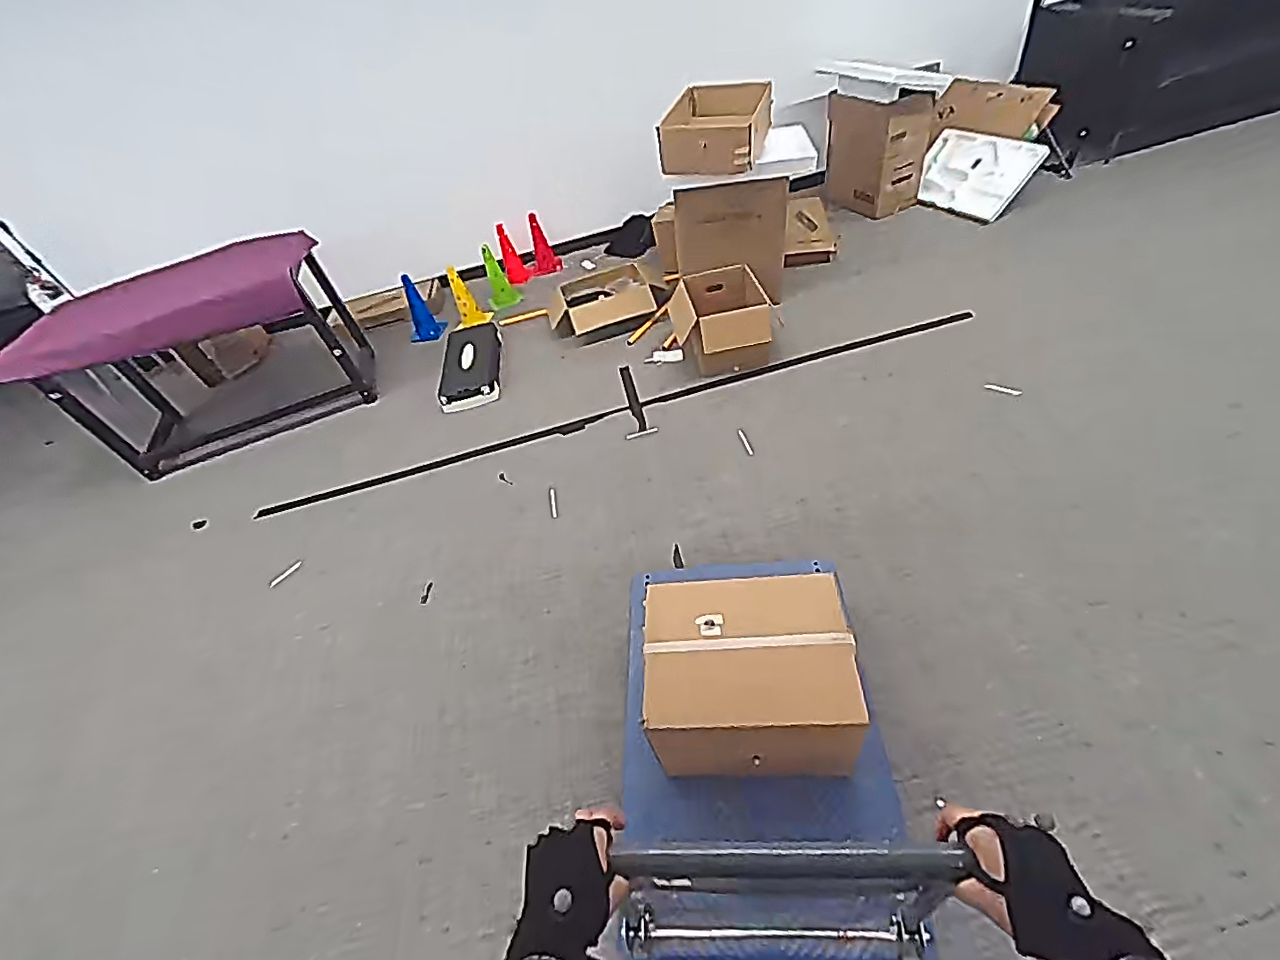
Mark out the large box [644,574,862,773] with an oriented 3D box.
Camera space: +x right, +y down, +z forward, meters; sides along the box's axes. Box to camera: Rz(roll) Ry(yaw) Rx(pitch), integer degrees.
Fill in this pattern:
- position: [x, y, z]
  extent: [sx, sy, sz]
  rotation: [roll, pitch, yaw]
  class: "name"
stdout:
- position: [0.236, 0.436, 1.196]
  extent: [0.408, 0.320, 0.320]
  rotation: [-6, 45, 10]
  class: "large box"
